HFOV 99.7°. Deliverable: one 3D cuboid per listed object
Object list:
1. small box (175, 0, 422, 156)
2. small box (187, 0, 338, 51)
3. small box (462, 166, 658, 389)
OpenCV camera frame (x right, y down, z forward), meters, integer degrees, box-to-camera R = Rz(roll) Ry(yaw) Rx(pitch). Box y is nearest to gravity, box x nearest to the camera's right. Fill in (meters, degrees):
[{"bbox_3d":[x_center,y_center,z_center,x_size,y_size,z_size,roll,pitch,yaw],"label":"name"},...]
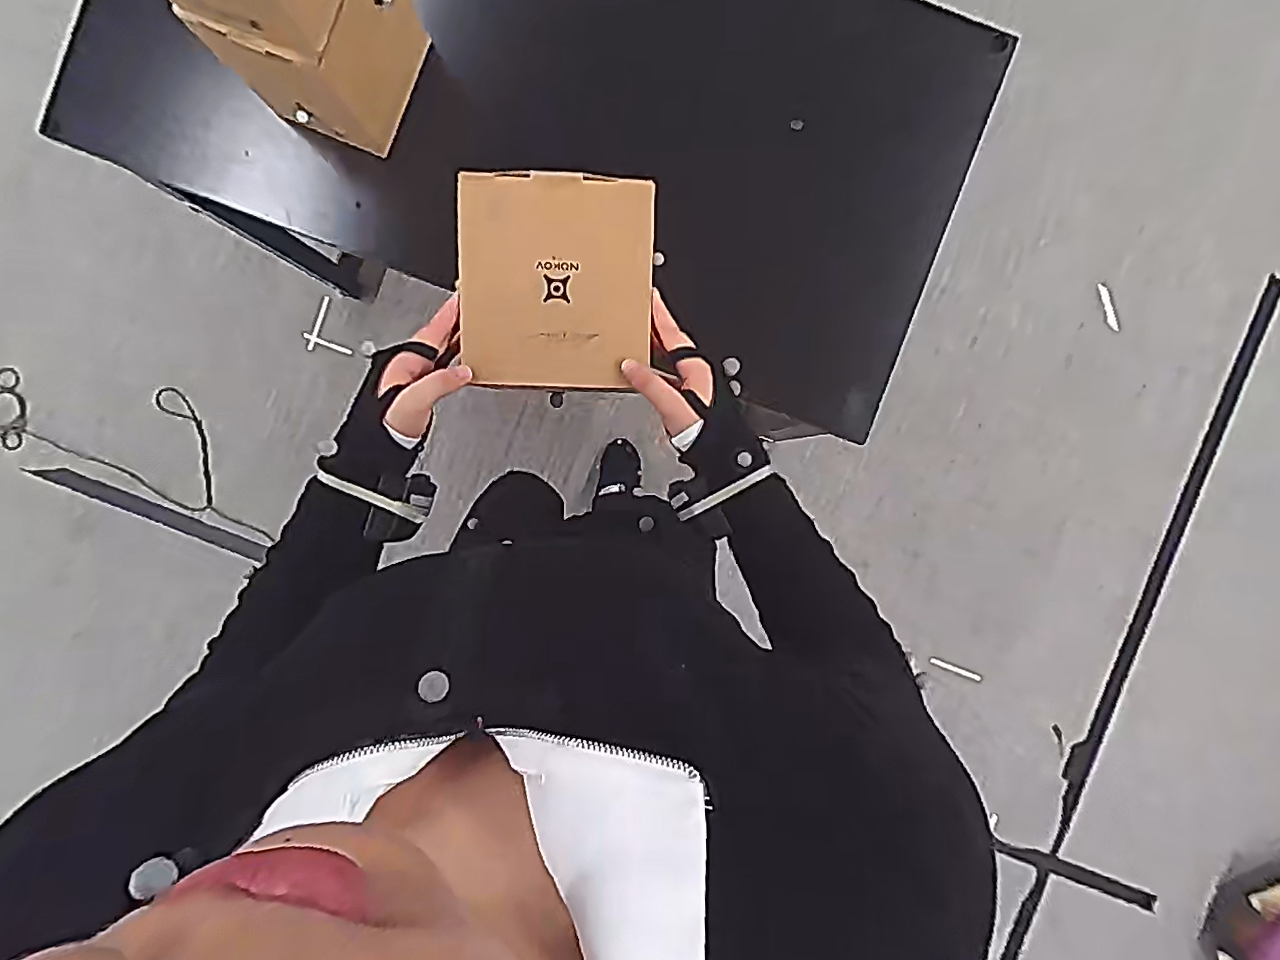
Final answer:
[{"bbox_3d":[-0.389,-0.545,0.654,0.168,0.176,0.179,22,91,-2],"label":"small box"},{"bbox_3d":[-0.384,-0.550,0.490,0.168,0.176,0.179,19,92,-2],"label":"small box"},{"bbox_3d":[-0.073,-0.183,0.540,0.168,0.176,0.179,0,99,-2],"label":"small box"}]
